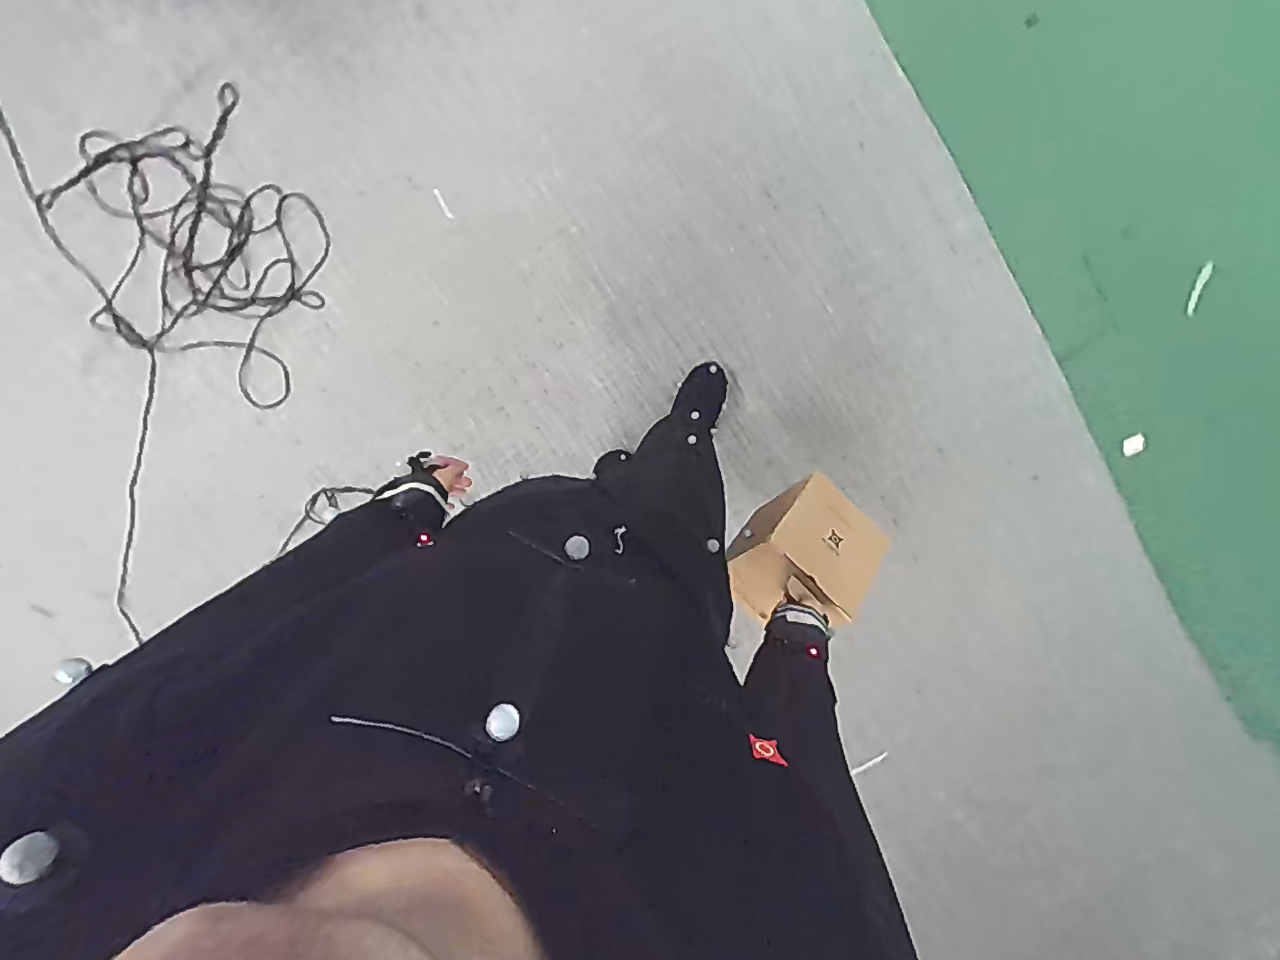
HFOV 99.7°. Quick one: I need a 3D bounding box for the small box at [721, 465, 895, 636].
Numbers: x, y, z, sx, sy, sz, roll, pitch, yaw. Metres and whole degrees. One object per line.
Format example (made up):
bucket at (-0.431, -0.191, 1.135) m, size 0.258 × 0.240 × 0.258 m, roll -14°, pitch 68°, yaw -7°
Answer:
small box at (0.251, 0.115, 0.840) m, size 0.168 × 0.179 × 0.176 m, roll 44°, pitch 143°, yaw 0°
